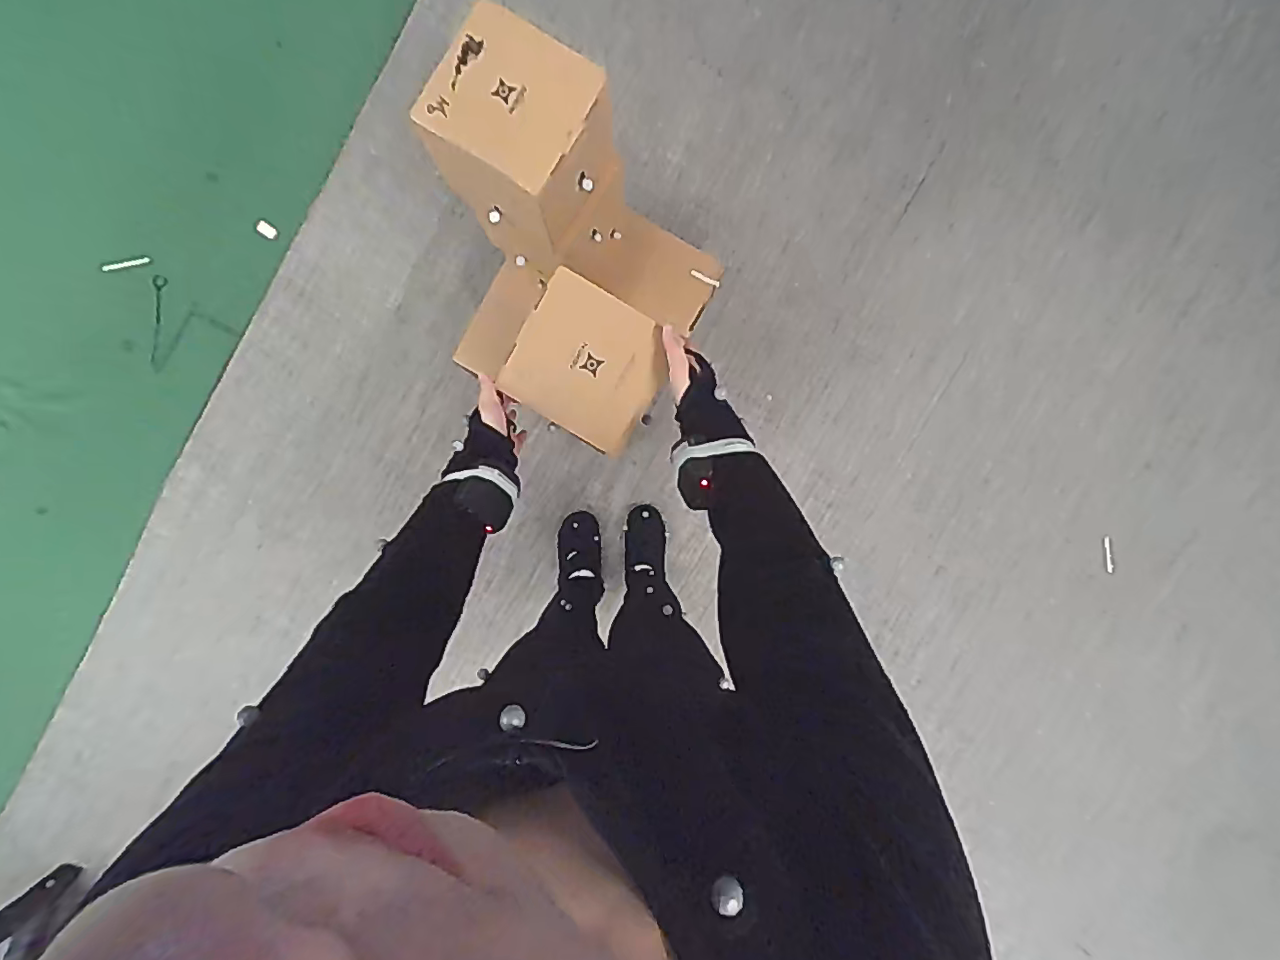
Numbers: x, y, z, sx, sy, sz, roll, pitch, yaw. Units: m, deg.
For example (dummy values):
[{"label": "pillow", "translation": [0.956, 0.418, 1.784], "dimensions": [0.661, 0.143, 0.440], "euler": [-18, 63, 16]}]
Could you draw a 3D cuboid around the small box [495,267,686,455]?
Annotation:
[{"label": "small box", "translation": [-0.062, -0.146, 0.722], "dimensions": [0.179, 0.176, 0.168], "euler": [30, 94, -4]}]

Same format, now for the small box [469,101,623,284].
[{"label": "small box", "translation": [-0.142, -0.439, 0.868], "dimensions": [0.168, 0.176, 0.179], "euler": [32, 90, -2]}]

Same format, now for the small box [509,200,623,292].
[{"label": "small box", "translation": [-0.146, -0.460, 1.033], "dimensions": [0.168, 0.176, 0.179], "euler": [30, 90, -2]}]
